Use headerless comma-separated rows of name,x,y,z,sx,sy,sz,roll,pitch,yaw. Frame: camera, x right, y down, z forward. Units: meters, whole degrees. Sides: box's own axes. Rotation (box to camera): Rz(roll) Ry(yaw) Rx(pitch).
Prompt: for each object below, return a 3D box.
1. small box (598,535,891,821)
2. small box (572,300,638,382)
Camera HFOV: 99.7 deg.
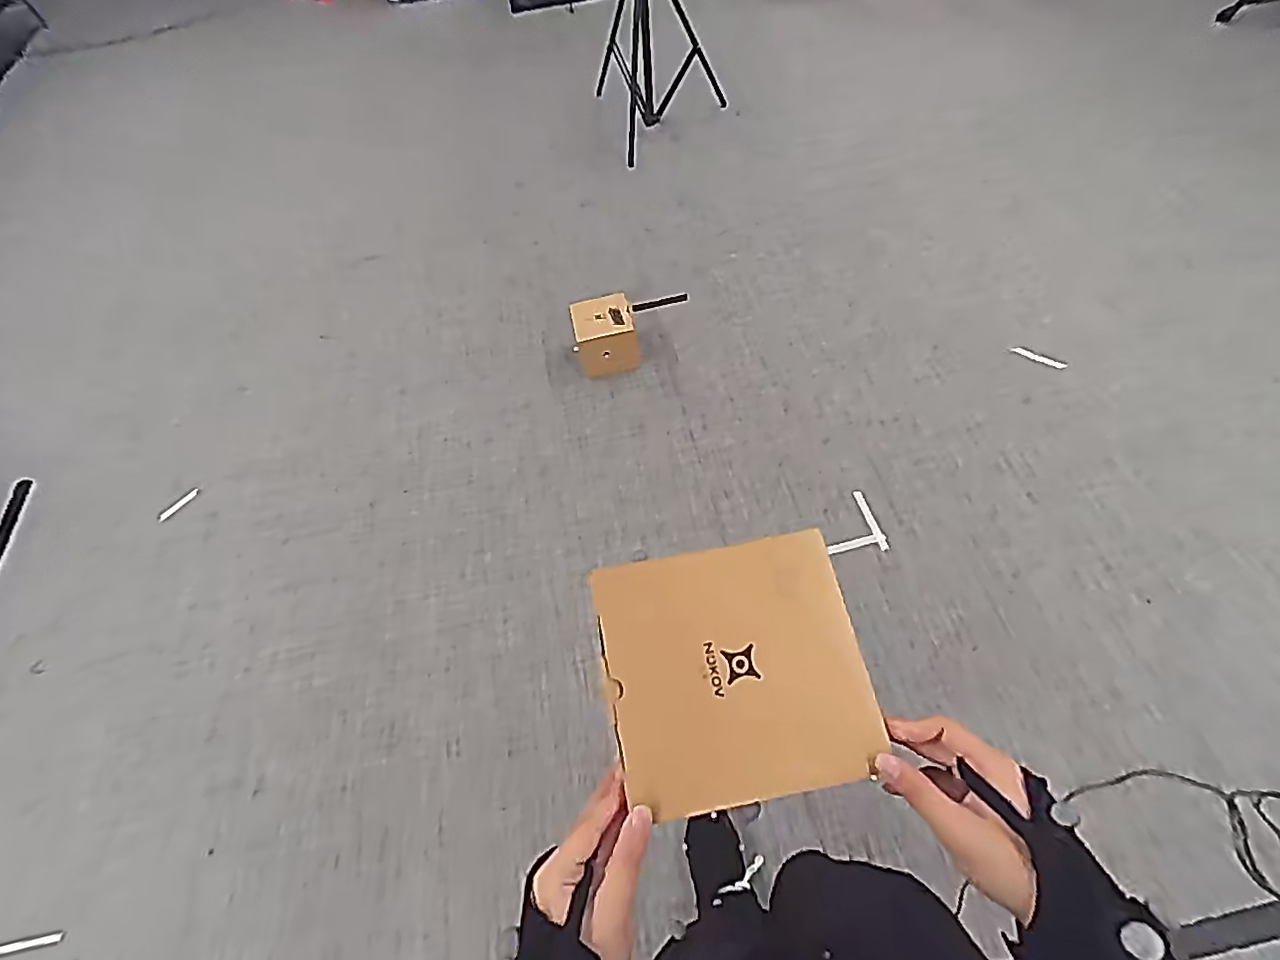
small box,0.069,0.157,0.452,0.179,0.176,0.168,-11,69,-1
small box,-0.106,-0.435,1.707,0.179,0.176,0.168,-13,60,-1
